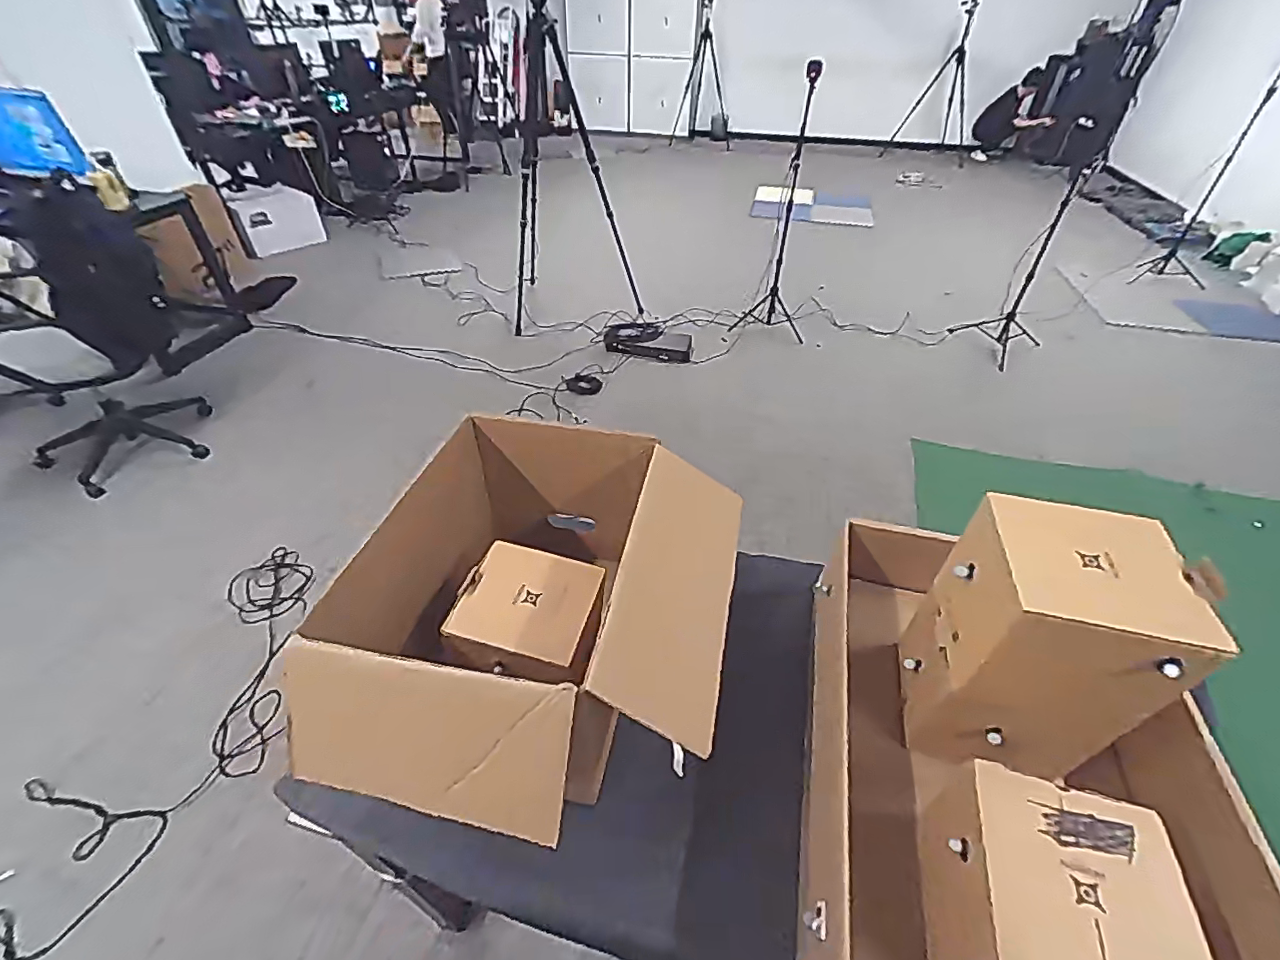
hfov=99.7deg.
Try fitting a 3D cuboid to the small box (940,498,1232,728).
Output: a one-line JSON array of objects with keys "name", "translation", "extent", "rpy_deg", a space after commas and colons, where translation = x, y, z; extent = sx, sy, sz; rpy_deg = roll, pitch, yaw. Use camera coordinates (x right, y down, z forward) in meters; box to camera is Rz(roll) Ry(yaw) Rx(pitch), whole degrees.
[{"name": "small box", "translation": [0.454, 0.147, 0.597], "extent": [0.179, 0.176, 0.168], "rpy_deg": [10, 44, 10]}]
